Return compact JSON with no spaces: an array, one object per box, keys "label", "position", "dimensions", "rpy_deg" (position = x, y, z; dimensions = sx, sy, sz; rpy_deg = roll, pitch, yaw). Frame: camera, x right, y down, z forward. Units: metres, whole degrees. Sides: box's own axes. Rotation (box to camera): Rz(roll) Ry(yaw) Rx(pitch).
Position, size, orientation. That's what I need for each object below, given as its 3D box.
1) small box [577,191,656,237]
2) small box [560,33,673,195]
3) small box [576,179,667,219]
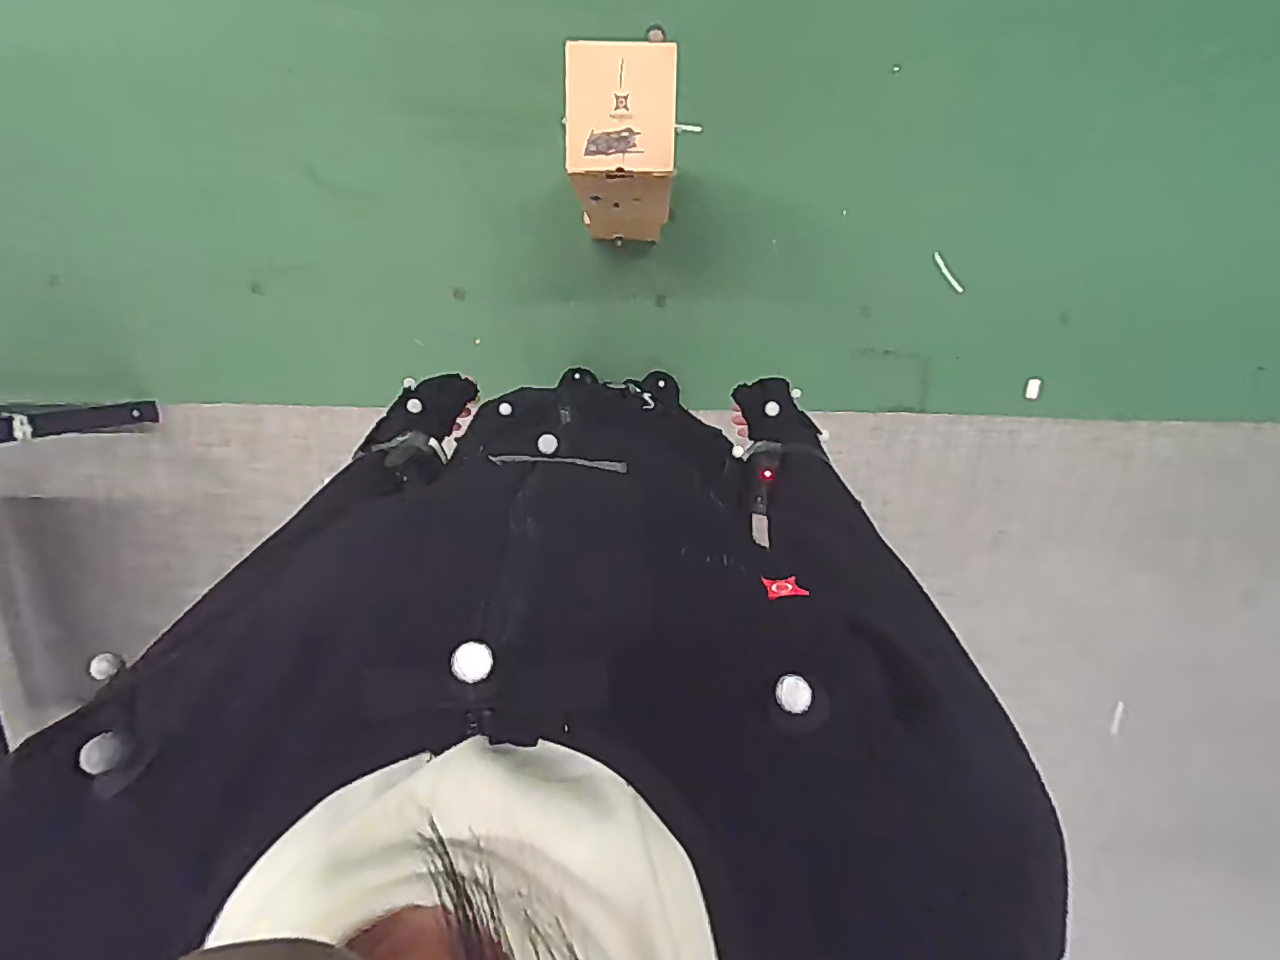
[{"label":"small box","position":[-0.042,-0.646,1.177],"dimensions":[0.168,0.176,0.179],"rpy_deg":[5,104,1]},{"label":"small box","position":[-0.035,-0.576,0.875],"dimensions":[0.168,0.176,0.179],"rpy_deg":[1,103,0]},{"label":"small box","position":[-0.032,-0.616,1.035],"dimensions":[0.168,0.176,0.179],"rpy_deg":[1,103,0]}]
